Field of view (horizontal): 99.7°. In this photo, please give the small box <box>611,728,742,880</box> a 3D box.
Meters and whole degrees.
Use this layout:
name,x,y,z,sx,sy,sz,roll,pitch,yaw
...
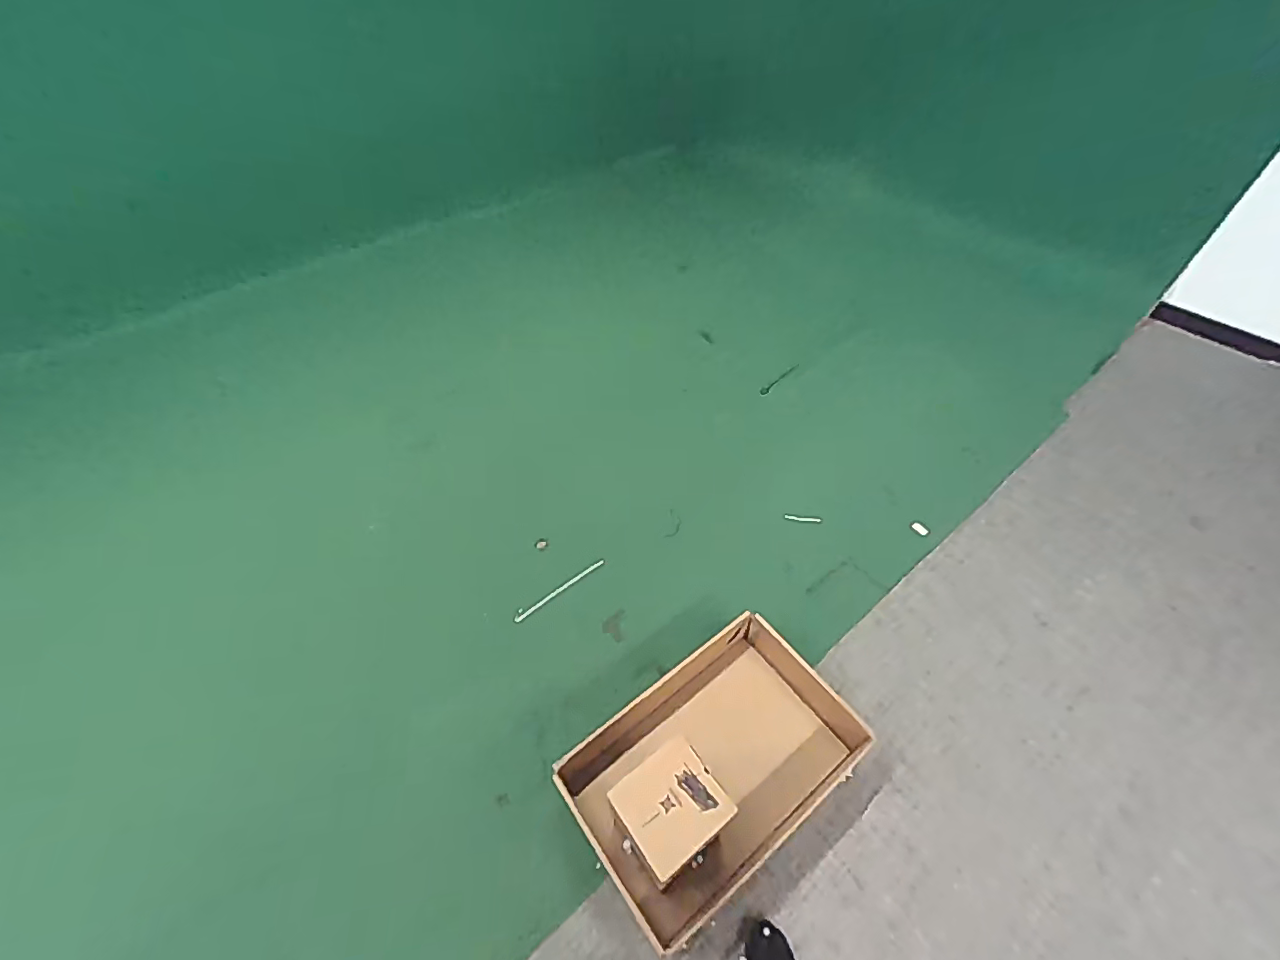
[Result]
name,x,y,z,sx,sy,sz,roll,pitch,yaw
small box,0.062,0.605,1.010,0.179,0.176,0.168,-31,56,-22
